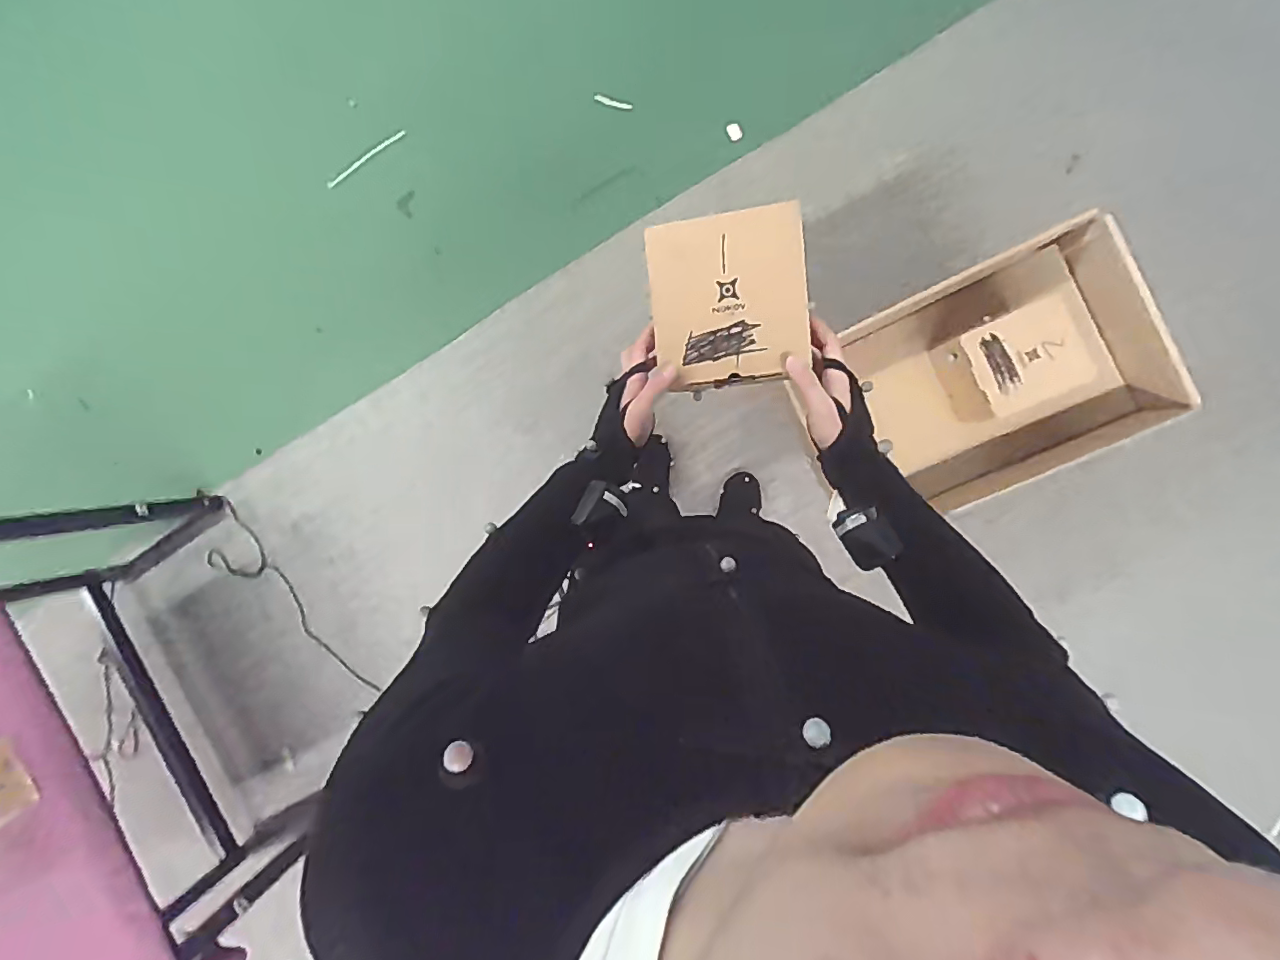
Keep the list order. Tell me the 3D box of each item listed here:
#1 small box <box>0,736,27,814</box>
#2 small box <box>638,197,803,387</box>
[{"bbox_3d":[-1.462,0.669,1.125,0.179,0.176,0.168,-31,88,10],"label":"small box"},{"bbox_3d":[0.098,-0.207,0.652,0.168,0.176,0.179,-5,96,10],"label":"small box"}]
